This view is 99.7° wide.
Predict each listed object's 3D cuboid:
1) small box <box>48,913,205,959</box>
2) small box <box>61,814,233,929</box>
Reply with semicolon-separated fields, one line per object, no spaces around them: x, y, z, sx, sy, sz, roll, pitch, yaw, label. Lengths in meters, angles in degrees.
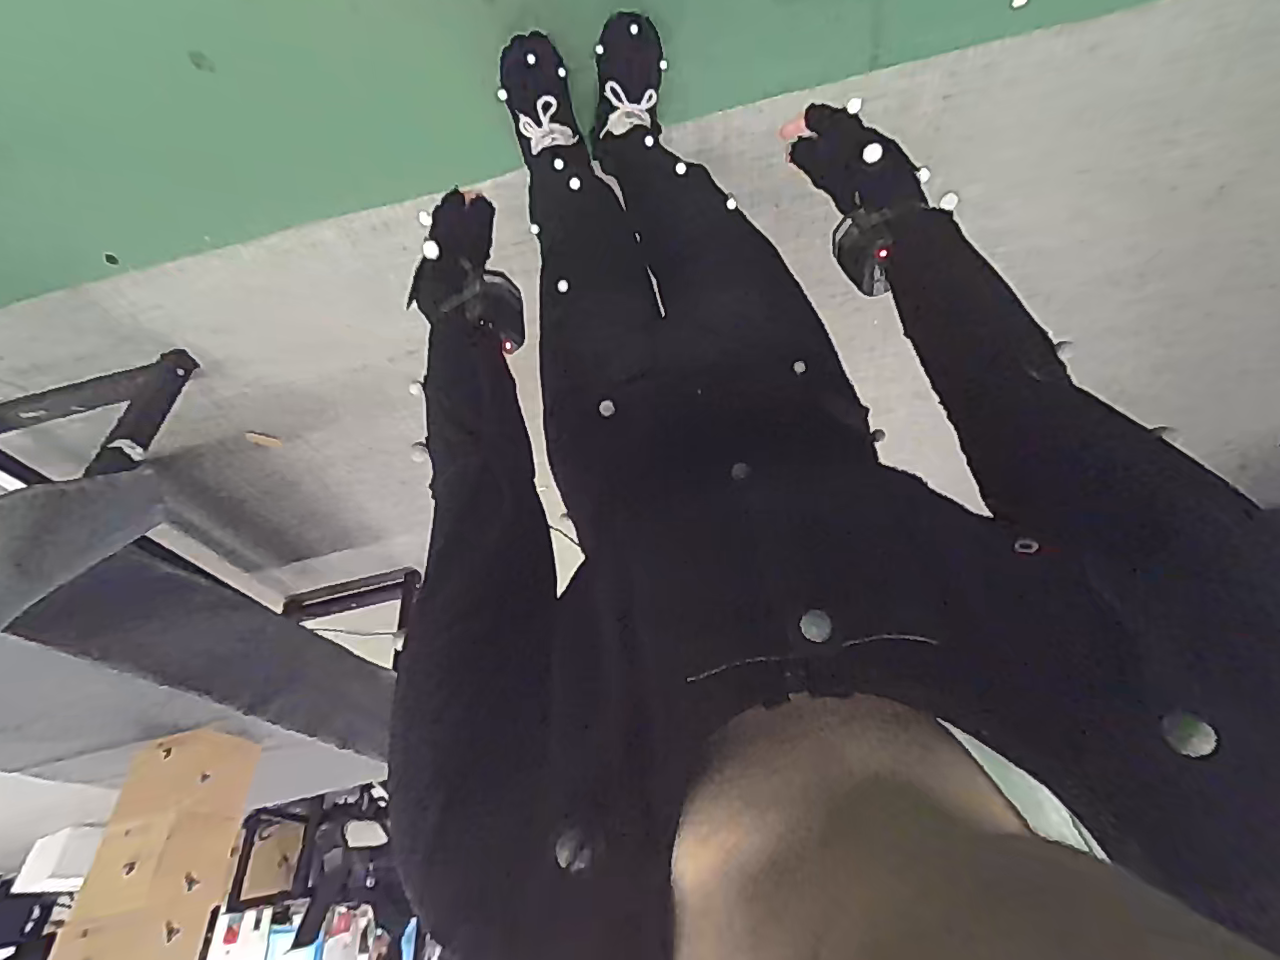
-0.993;0.941;1.027;0.168;0.176;0.179;-12;140;2;small box
-1.012;0.814;1.130;0.168;0.176;0.179;-14;140;4;small box
